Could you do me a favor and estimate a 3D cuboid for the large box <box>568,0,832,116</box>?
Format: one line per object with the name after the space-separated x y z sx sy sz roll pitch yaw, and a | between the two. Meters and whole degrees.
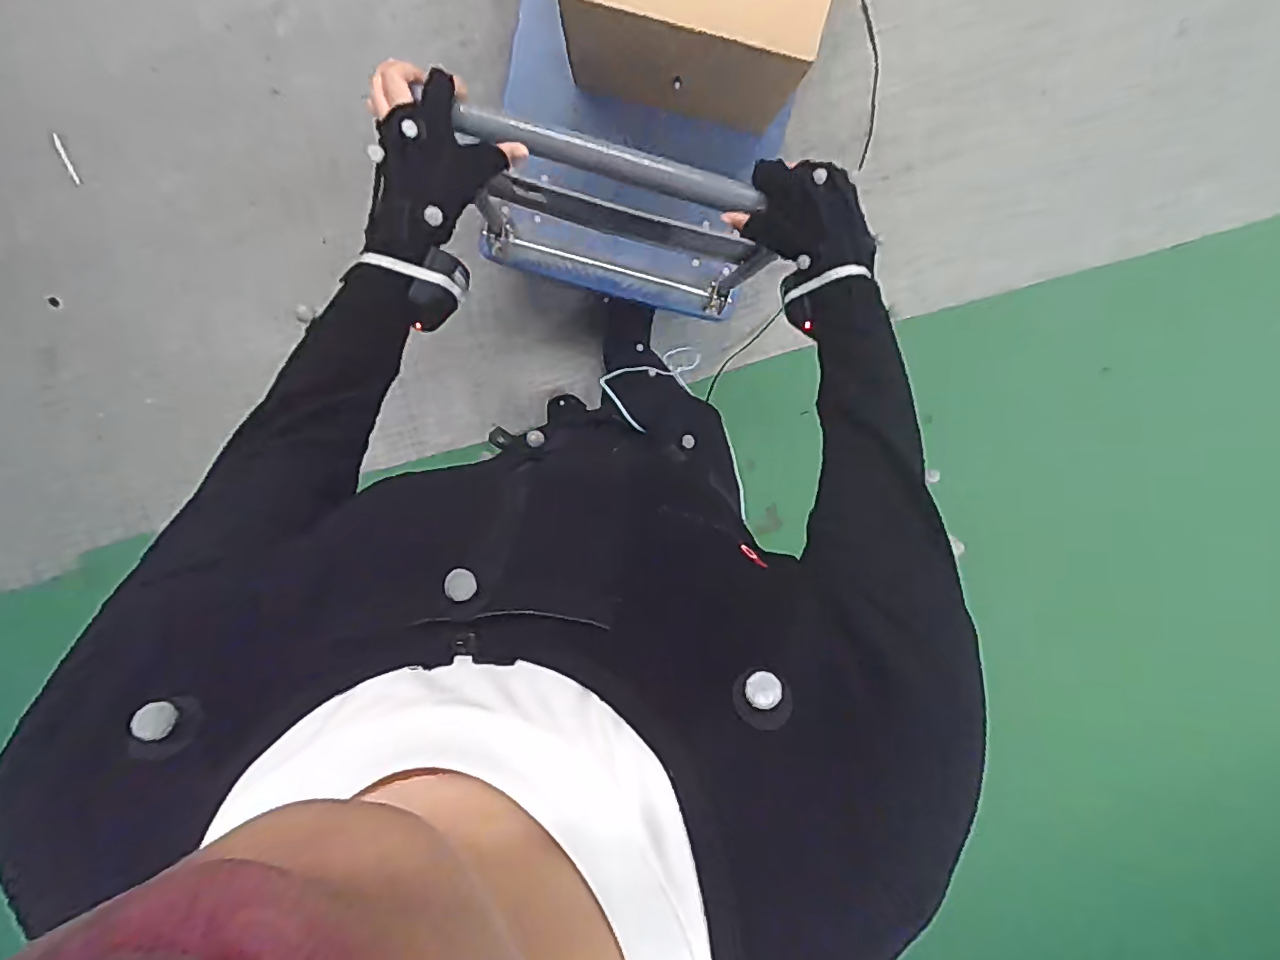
0.109 -0.880 0.921 0.408 0.320 0.320 11 104 -4 | large box
